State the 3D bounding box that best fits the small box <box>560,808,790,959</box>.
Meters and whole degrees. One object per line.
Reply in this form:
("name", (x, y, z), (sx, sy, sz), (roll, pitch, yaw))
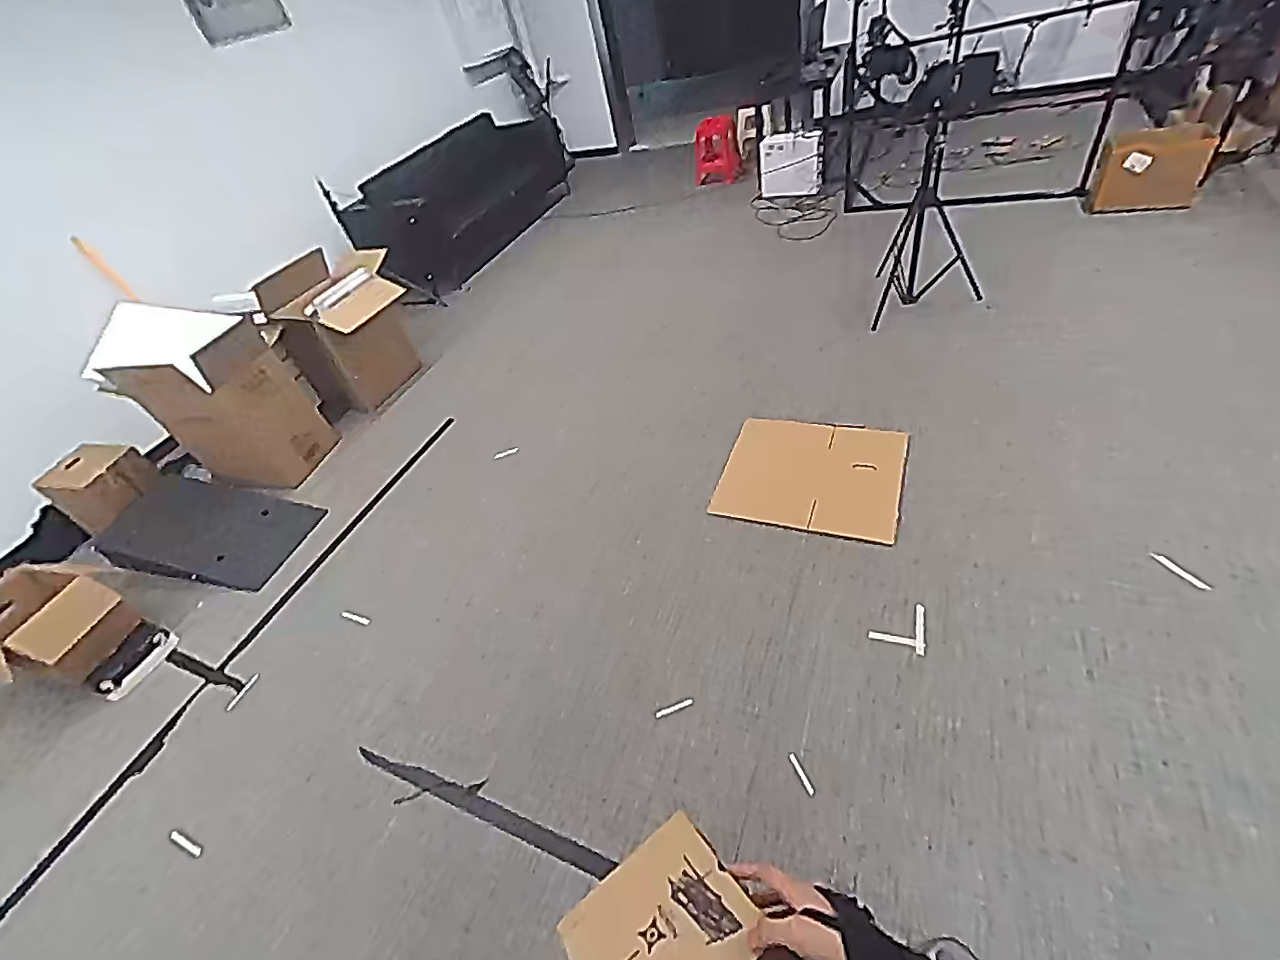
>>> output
("small box", (0.048, 0.506, 0.565), (0.179, 0.176, 0.168), (-32, 24, -20))
